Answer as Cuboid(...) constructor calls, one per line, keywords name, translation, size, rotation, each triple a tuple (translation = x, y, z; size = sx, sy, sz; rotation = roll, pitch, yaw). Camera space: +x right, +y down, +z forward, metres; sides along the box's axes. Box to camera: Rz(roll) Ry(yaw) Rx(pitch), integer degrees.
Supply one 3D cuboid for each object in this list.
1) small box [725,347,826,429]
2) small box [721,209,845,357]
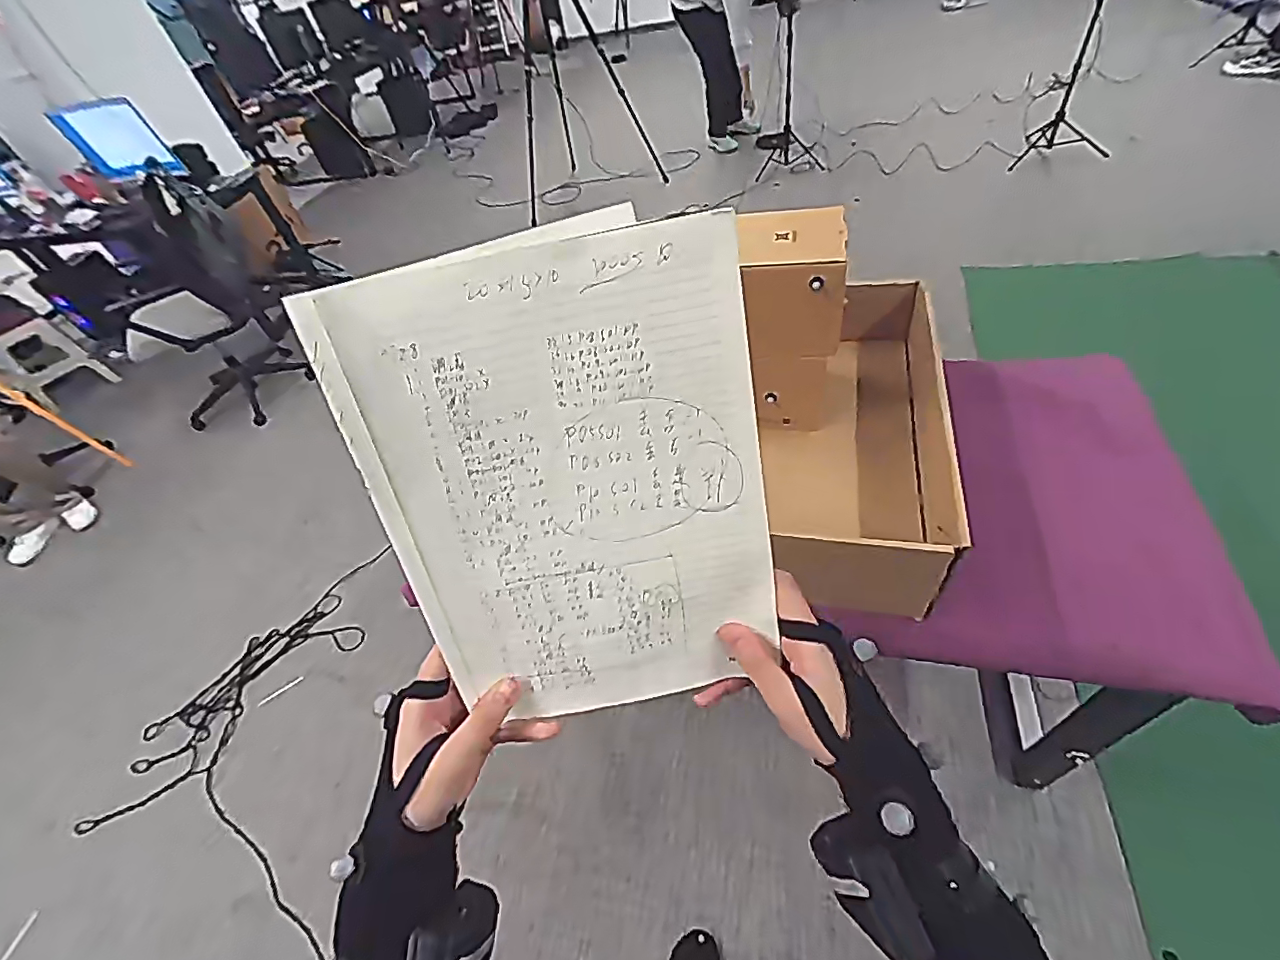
Cuboid(name="small box", translation=(0.257, -0.212, 1.002), size=(0.168, 0.176, 0.179), rotation=(5, 52, 17))
Cuboid(name="small box", translation=(0.233, -0.314, 0.878), size=(0.179, 0.176, 0.168), rotation=(3, 51, 15))
